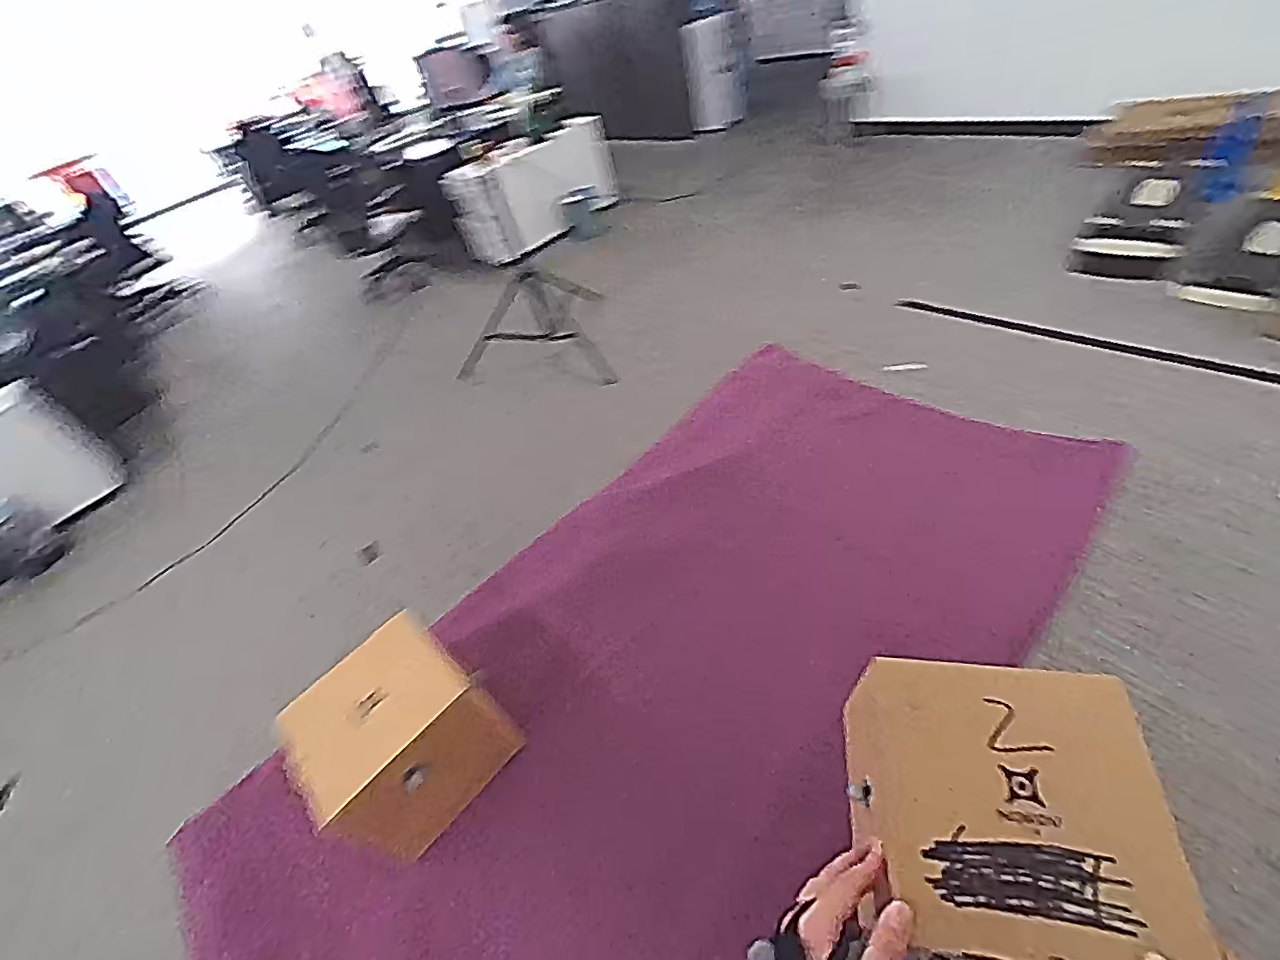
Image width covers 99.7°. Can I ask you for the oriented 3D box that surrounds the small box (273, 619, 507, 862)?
[{"bbox_3d":[-0.283,0.311,0.652,0.168,0.176,0.179,27,60,37],"label":"small box"}]
